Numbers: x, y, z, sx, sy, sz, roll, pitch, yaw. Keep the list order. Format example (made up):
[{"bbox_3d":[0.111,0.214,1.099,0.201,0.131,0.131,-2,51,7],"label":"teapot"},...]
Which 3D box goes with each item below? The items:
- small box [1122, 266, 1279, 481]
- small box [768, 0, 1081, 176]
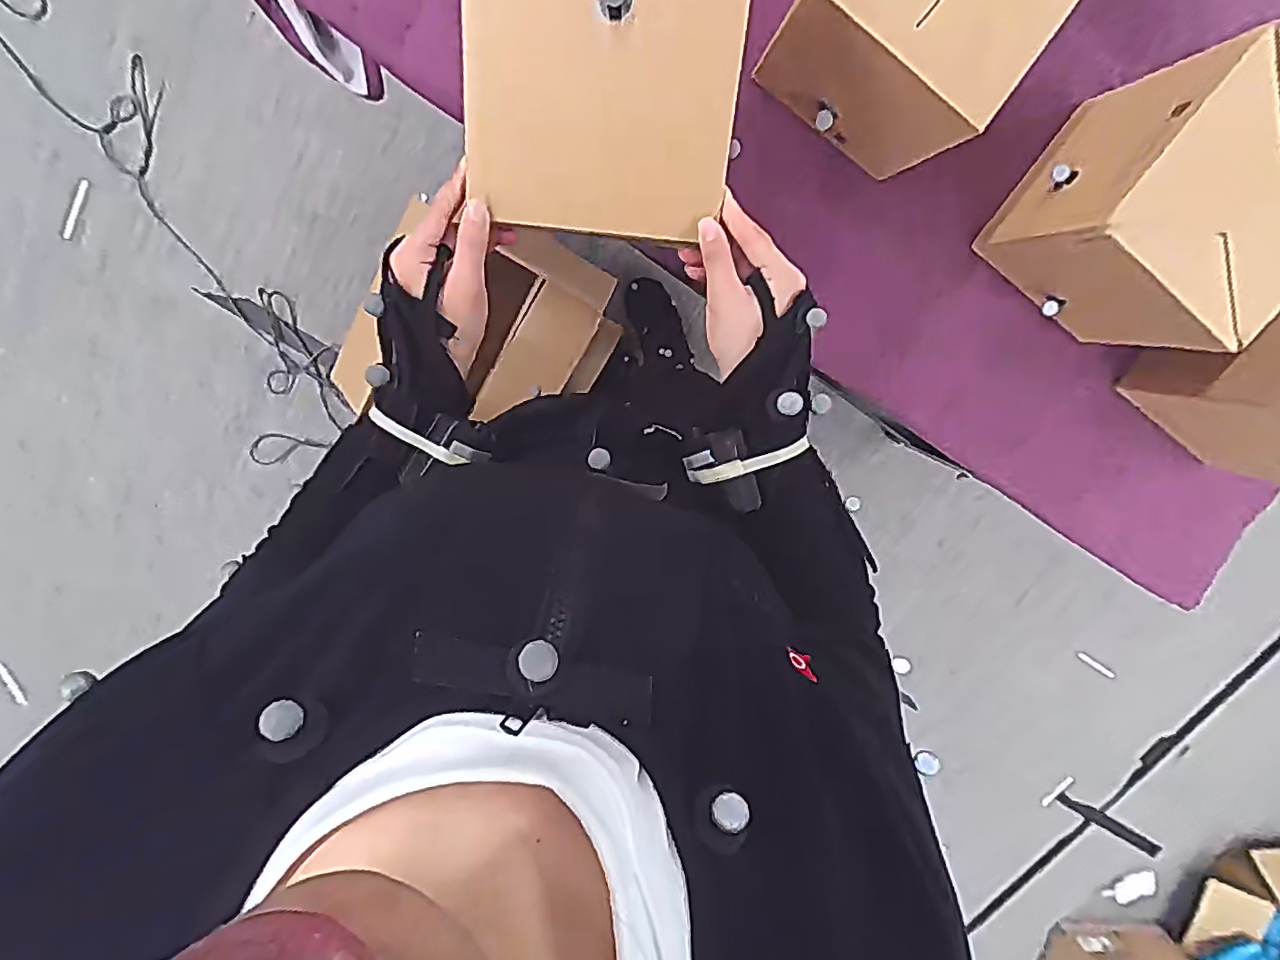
[{"bbox_3d":[0.669,-0.105,0.549,0.179,0.176,0.168,32,101,-12],"label":"small box"},{"bbox_3d":[0.230,-0.392,0.443,0.168,0.176,0.179,31,104,-11],"label":"small box"}]
